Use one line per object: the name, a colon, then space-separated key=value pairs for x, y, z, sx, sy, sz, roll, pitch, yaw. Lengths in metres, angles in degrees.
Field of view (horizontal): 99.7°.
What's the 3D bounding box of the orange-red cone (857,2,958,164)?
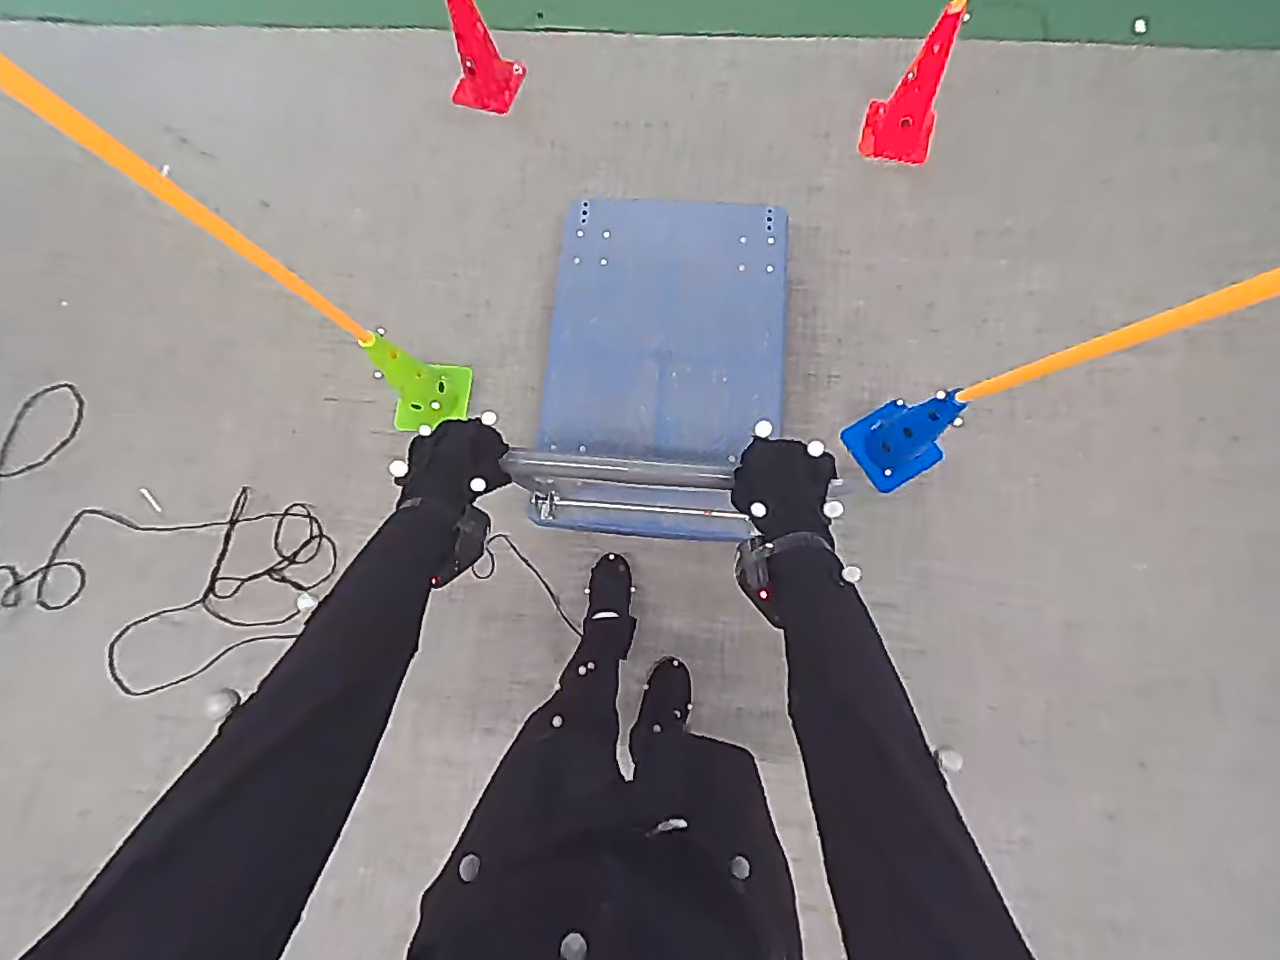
orange-red cone: x=0.751 y=-1.076 z=1.449 sx=0.198 sy=0.360 sz=0.199 roll=16 pitch=79 yaw=8
